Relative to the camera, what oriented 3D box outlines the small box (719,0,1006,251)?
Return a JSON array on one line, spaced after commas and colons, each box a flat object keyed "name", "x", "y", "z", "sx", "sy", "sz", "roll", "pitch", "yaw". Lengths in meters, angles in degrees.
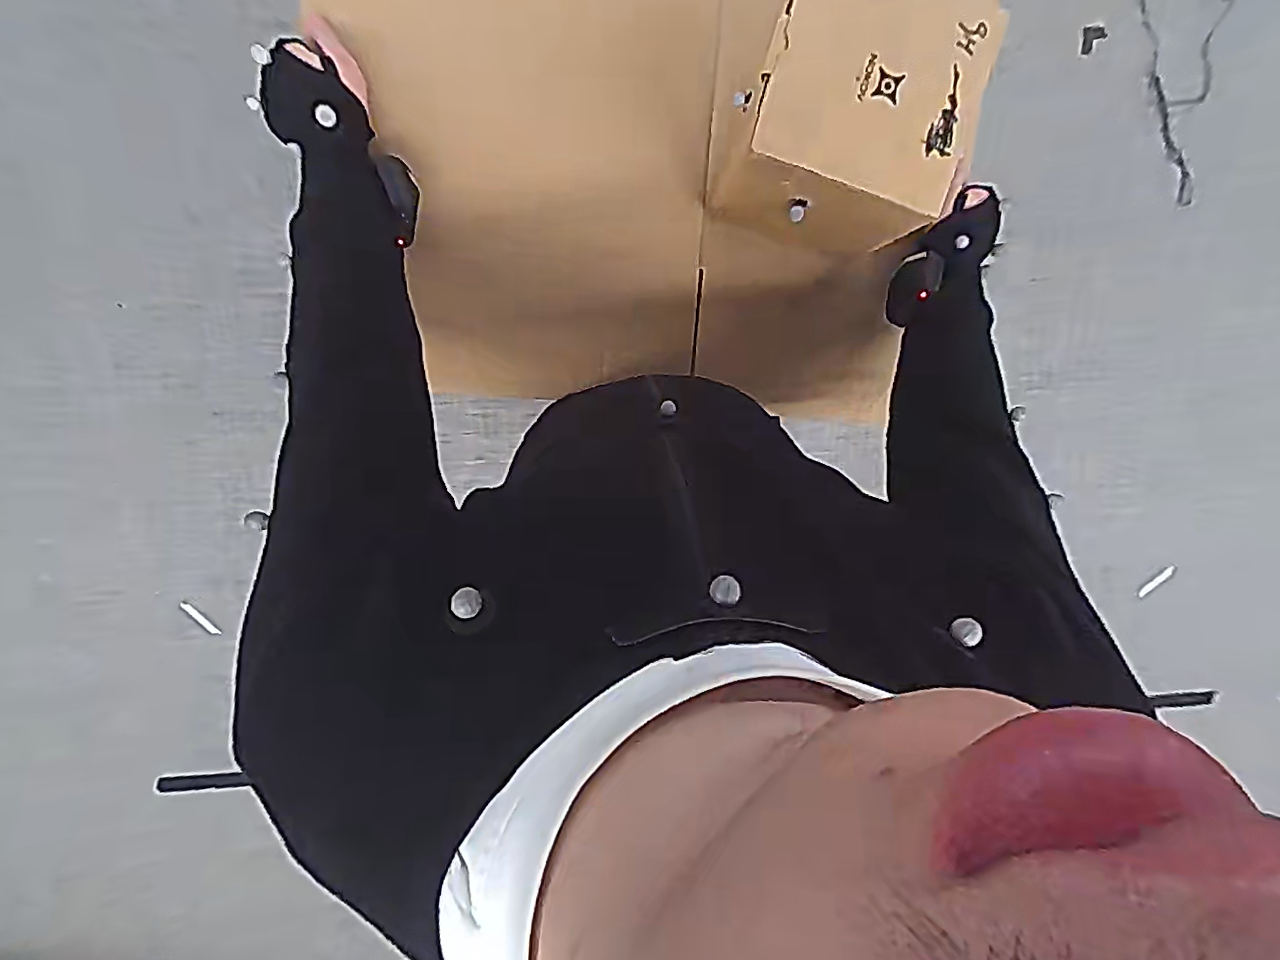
[{"name": "small box", "x": 0.189, "y": -0.342, "z": 0.521, "sx": 0.179, "sy": 0.176, "sz": 0.168, "roll": 16, "pitch": 99, "yaw": -5}]
